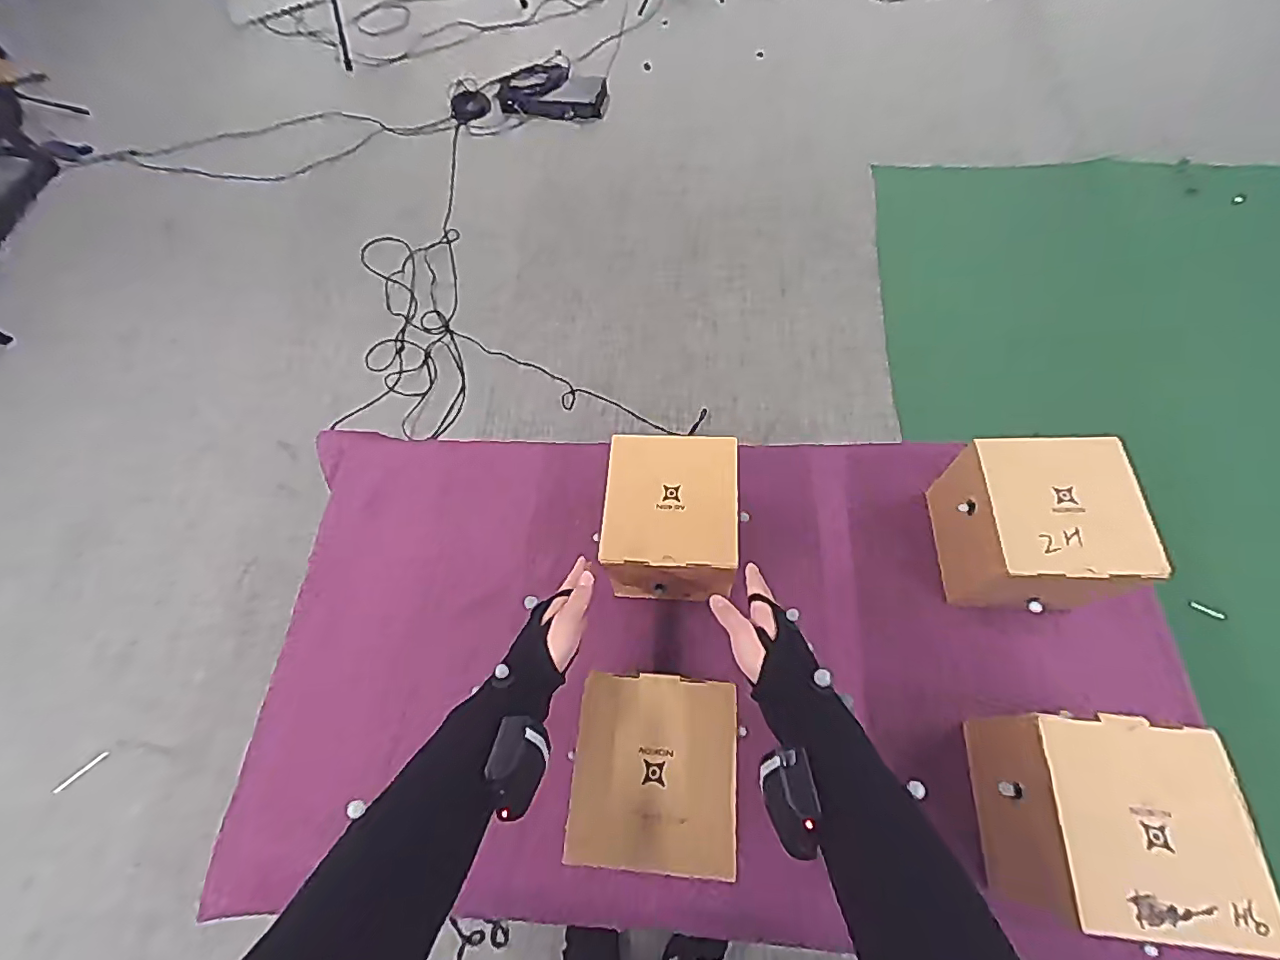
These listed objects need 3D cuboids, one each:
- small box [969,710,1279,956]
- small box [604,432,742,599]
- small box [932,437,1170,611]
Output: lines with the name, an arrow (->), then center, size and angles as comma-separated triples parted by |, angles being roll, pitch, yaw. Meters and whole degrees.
small box -> 0.472, 0.349, 0.560 | 0.168, 0.176, 0.179 | 3, 62, 7
small box -> 0.048, 0.053, 0.740 | 0.168, 0.176, 0.179 | 2, 66, 5
small box -> 0.501, 0.061, 0.696 | 0.168, 0.176, 0.179 | 0, 65, 8
